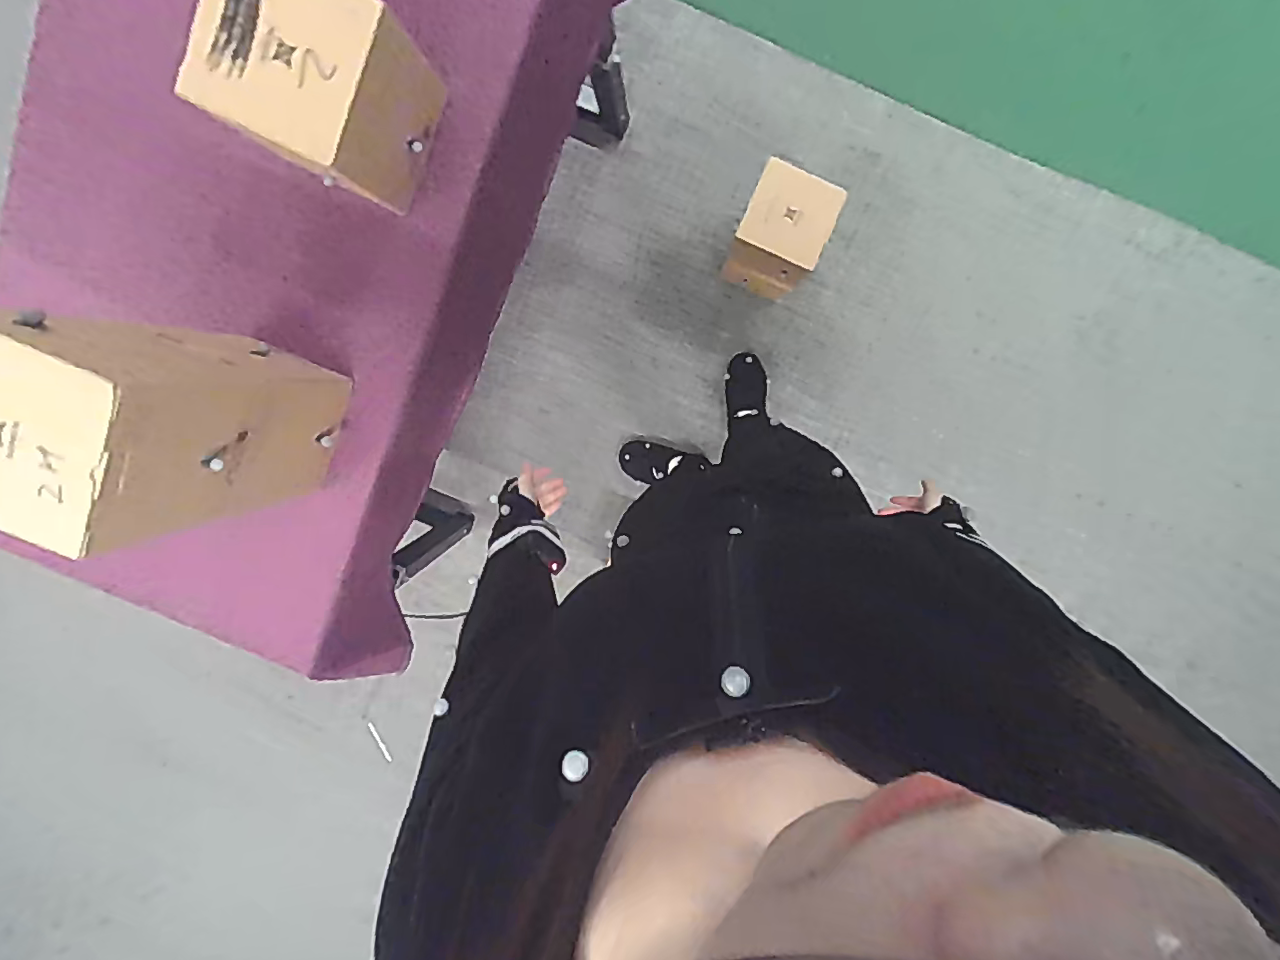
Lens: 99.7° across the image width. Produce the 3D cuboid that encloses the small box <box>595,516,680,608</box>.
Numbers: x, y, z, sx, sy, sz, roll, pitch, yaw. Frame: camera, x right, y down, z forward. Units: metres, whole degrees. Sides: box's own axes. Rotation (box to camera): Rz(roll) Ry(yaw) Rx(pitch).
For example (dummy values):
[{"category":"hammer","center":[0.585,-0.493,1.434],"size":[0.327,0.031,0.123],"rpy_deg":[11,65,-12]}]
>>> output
[{"category":"small box","center":[-0.002,0.214,1.471],"size":[0.179,0.176,0.168],"rpy_deg":[24,101,-1]}]

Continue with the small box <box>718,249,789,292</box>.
[{"category":"small box","center":[0.297,-0.573,1.308],"size":[0.168,0.176,0.179],"rpy_deg":[21,100,-2]}]

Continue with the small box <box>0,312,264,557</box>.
[{"category":"small box","center":[-0.528,-0.052,0.532],"size":[0.179,0.176,0.168],"rpy_deg":[23,102,-2]}]

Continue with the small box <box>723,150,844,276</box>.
[{"category":"small box","center":[0.293,-0.552,1.147],"size":[0.179,0.176,0.168],"rpy_deg":[24,99,-2]}]

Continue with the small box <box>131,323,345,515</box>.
[{"category":"small box","center":[-0.515,-0.080,0.695],"size":[0.168,0.176,0.179],"rpy_deg":[22,100,-1]}]
